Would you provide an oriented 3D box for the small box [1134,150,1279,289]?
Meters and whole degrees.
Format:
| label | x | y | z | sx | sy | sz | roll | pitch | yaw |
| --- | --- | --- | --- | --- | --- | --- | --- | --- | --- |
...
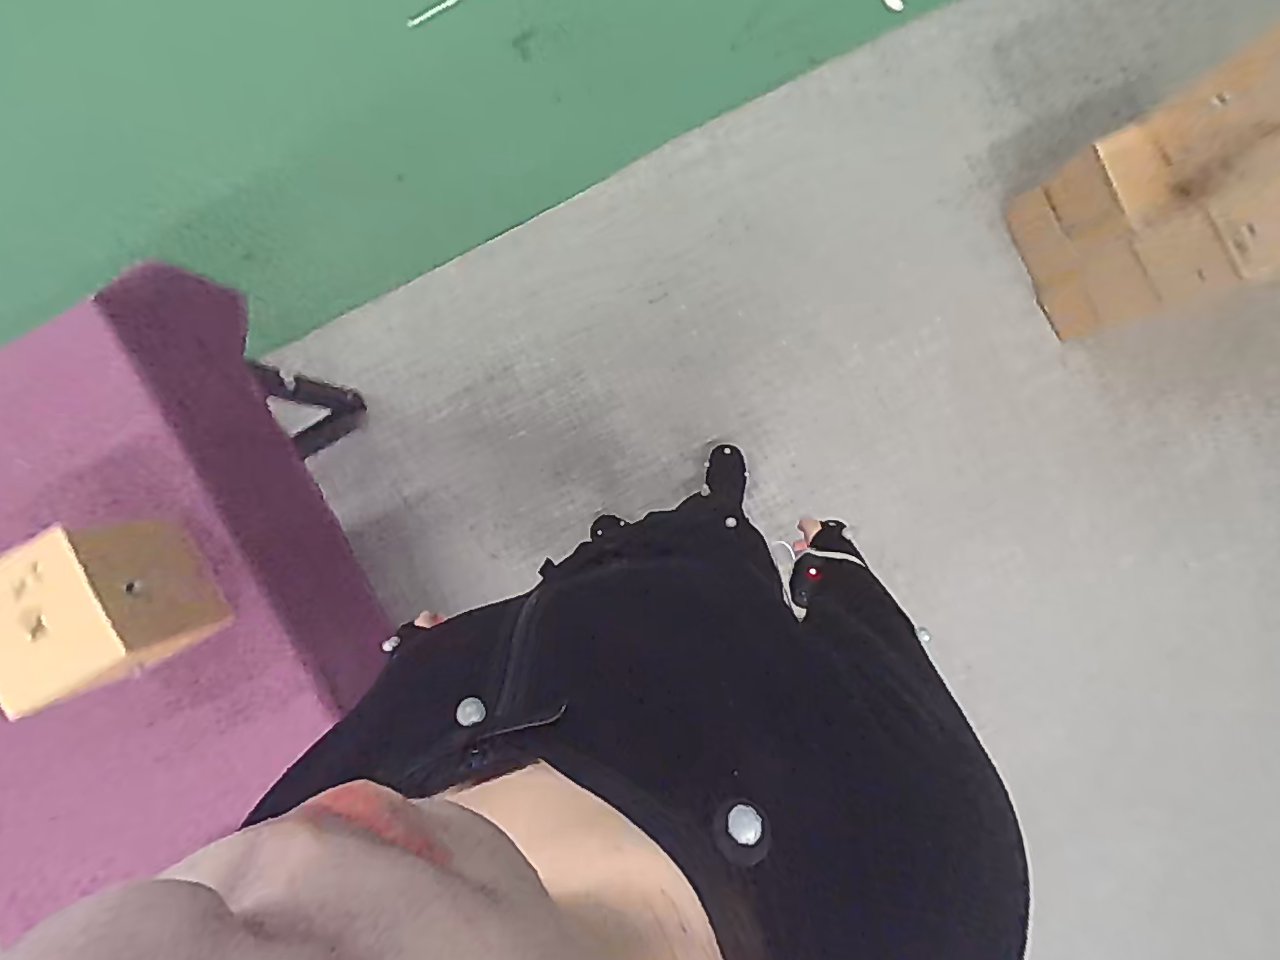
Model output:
| label | x | y | z | sx | sy | sz | roll | pitch | yaw |
| --- | --- | --- | --- | --- | --- | --- | --- | --- | --- |
| small box | 1.166 | -0.507 | 1.083 | 0.168 | 0.176 | 0.179 | -27 | 89 | 0 |

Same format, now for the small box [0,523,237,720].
| label | x | y | z | sx | sy | sz | roll | pitch | yaw |
| --- | --- | --- | --- | --- | --- | --- | --- | --- | --- |
| small box | -0.694 | 0.172 | 0.716 | 0.168 | 0.176 | 0.179 | -29 | 89 | 1 |
